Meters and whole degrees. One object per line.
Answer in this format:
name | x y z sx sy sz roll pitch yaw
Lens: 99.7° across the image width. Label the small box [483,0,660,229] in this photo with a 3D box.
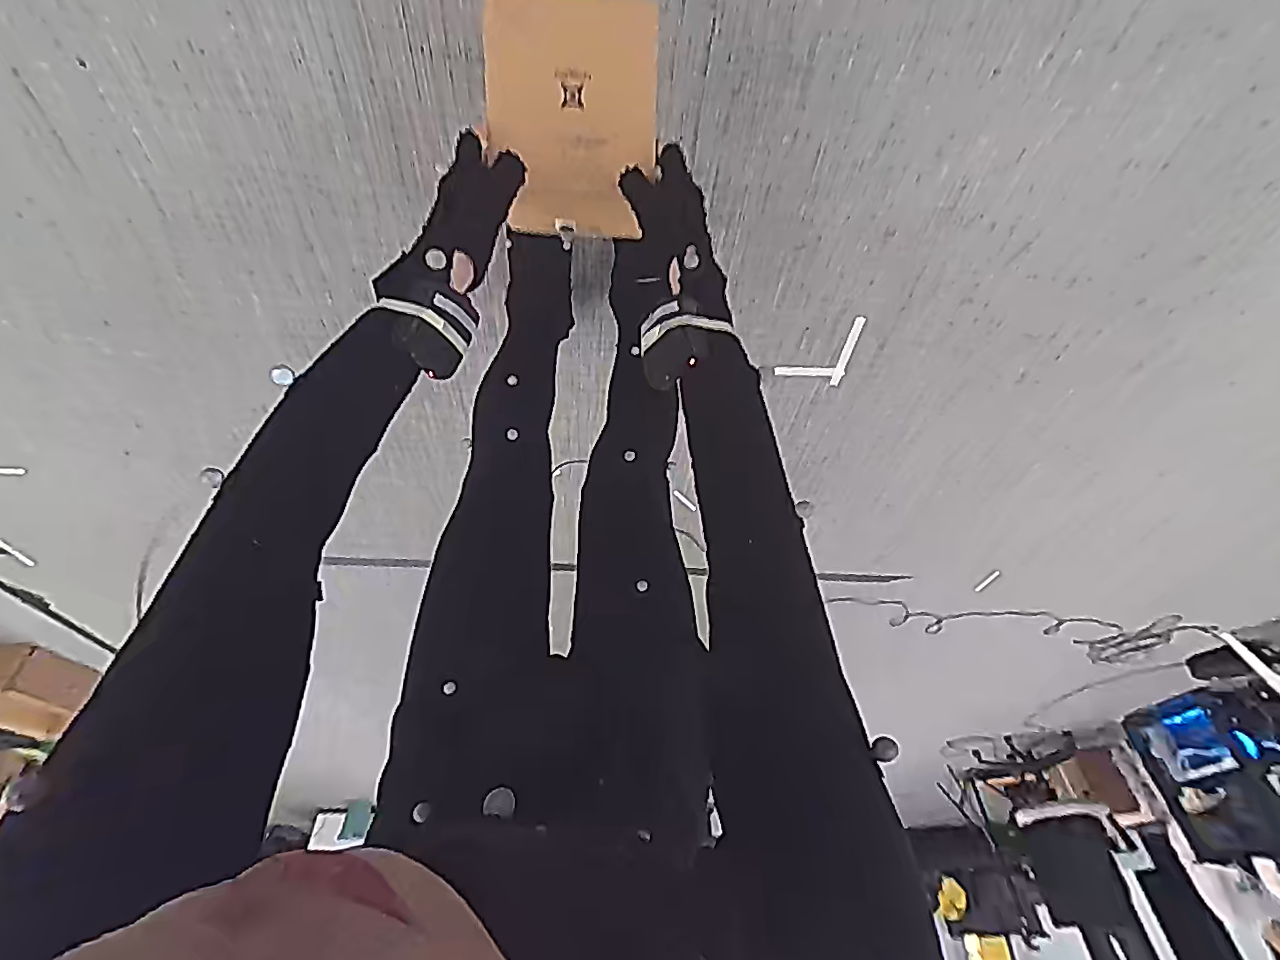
small box | -0.071 -0.393 0.587 0.168 0.176 0.179 0 100 -4
